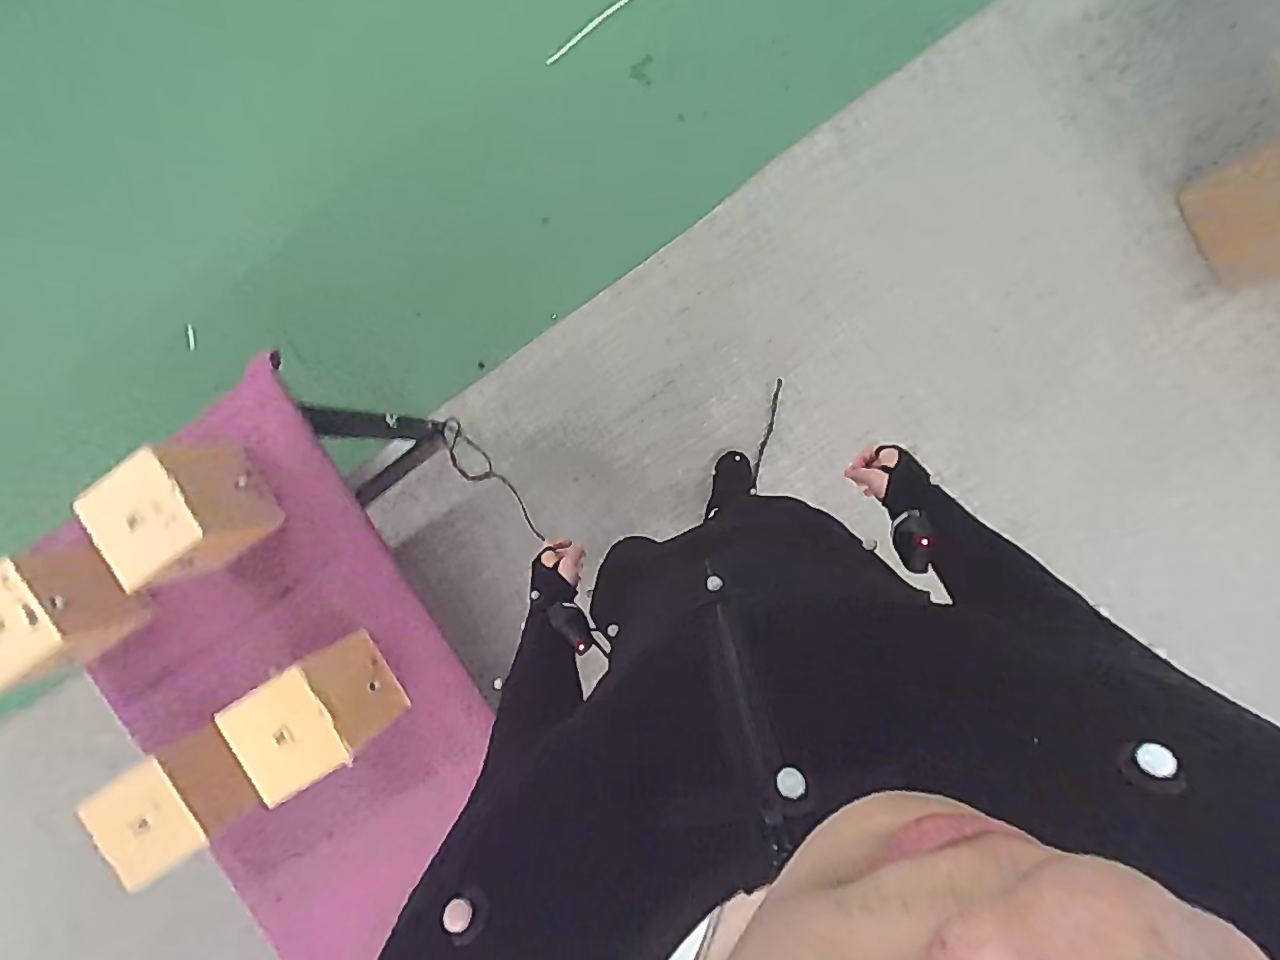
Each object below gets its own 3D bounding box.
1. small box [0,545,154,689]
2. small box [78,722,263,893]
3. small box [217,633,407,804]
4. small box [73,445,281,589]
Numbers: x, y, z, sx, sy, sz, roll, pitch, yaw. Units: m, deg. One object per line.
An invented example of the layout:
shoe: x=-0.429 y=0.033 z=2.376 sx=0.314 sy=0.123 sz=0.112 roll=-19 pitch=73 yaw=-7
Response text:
small box: x=-1.032 y=0.235 z=0.951 sx=0.179 sy=0.176 sz=0.168 roll=-34 pitch=91 yaw=5
small box: x=-0.788 y=0.550 z=0.943 sx=0.179 sy=0.176 sz=0.168 roll=-33 pitch=89 yaw=5
small box: x=-0.537 y=0.388 z=0.908 sx=0.179 sy=0.176 sz=0.168 roll=-33 pitch=88 yaw=7
small box: x=-0.767 y=0.055 z=0.914 sx=0.179 sy=0.176 sz=0.168 roll=-33 pitch=90 yaw=8
